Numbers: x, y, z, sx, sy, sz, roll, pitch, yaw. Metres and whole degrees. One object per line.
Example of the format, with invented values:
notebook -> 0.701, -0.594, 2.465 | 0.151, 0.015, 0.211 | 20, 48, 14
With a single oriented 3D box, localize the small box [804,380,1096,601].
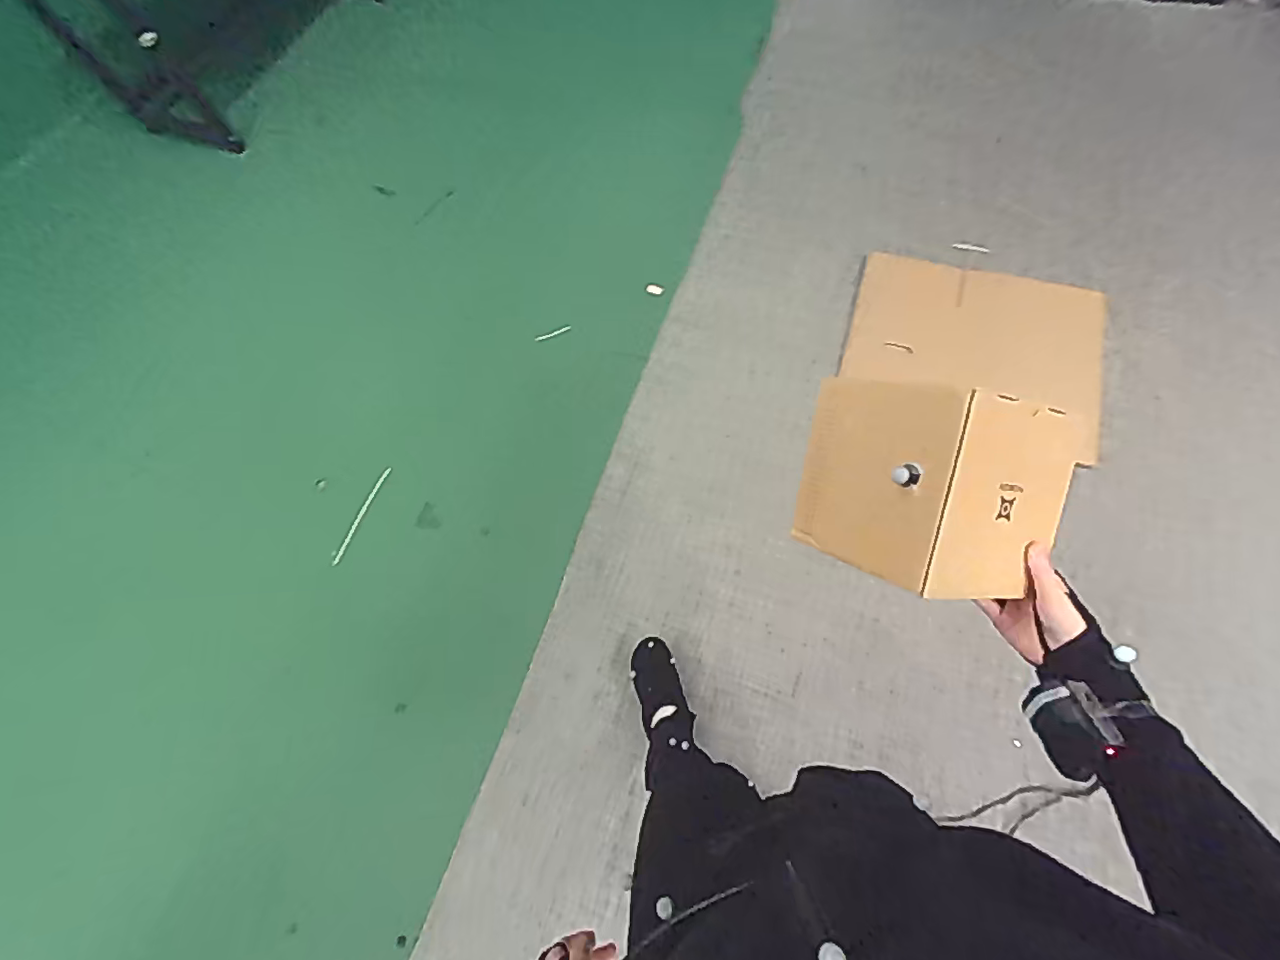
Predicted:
small box -> 0.288, 0.004, 0.534 | 0.168, 0.176, 0.179 | 7, 98, -26
